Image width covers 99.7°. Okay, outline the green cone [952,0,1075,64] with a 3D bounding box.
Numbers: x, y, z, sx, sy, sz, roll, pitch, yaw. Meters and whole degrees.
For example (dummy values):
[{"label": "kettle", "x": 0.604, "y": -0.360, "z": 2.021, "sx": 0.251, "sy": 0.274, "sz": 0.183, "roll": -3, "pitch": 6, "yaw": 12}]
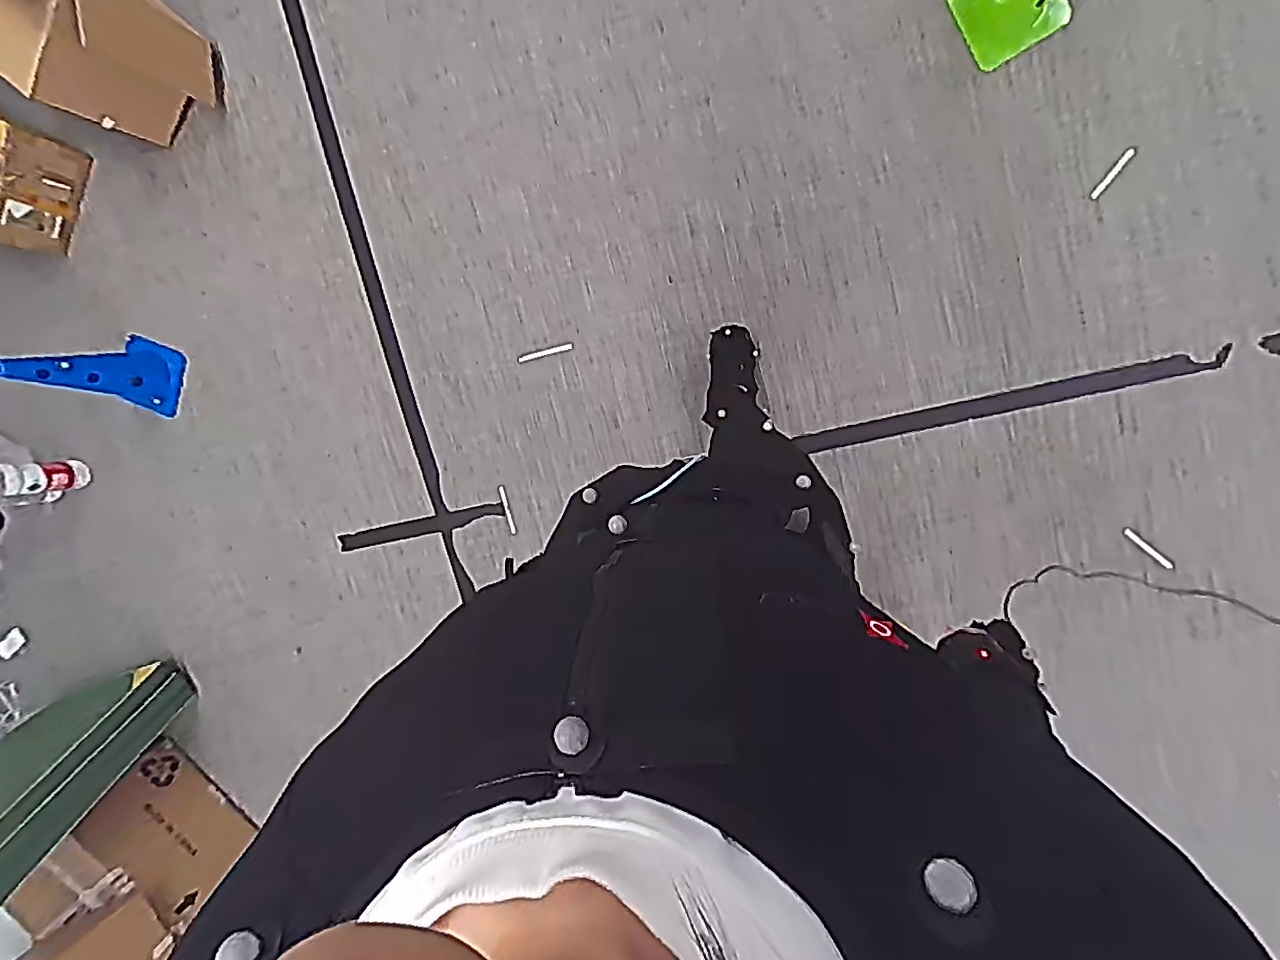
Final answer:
[{"label": "green cone", "x": 0.775, "y": -1.008, "z": 0.991, "sx": 0.202, "sy": 0.368, "sz": 0.200, "roll": -29, "pitch": 94, "yaw": 10}]
